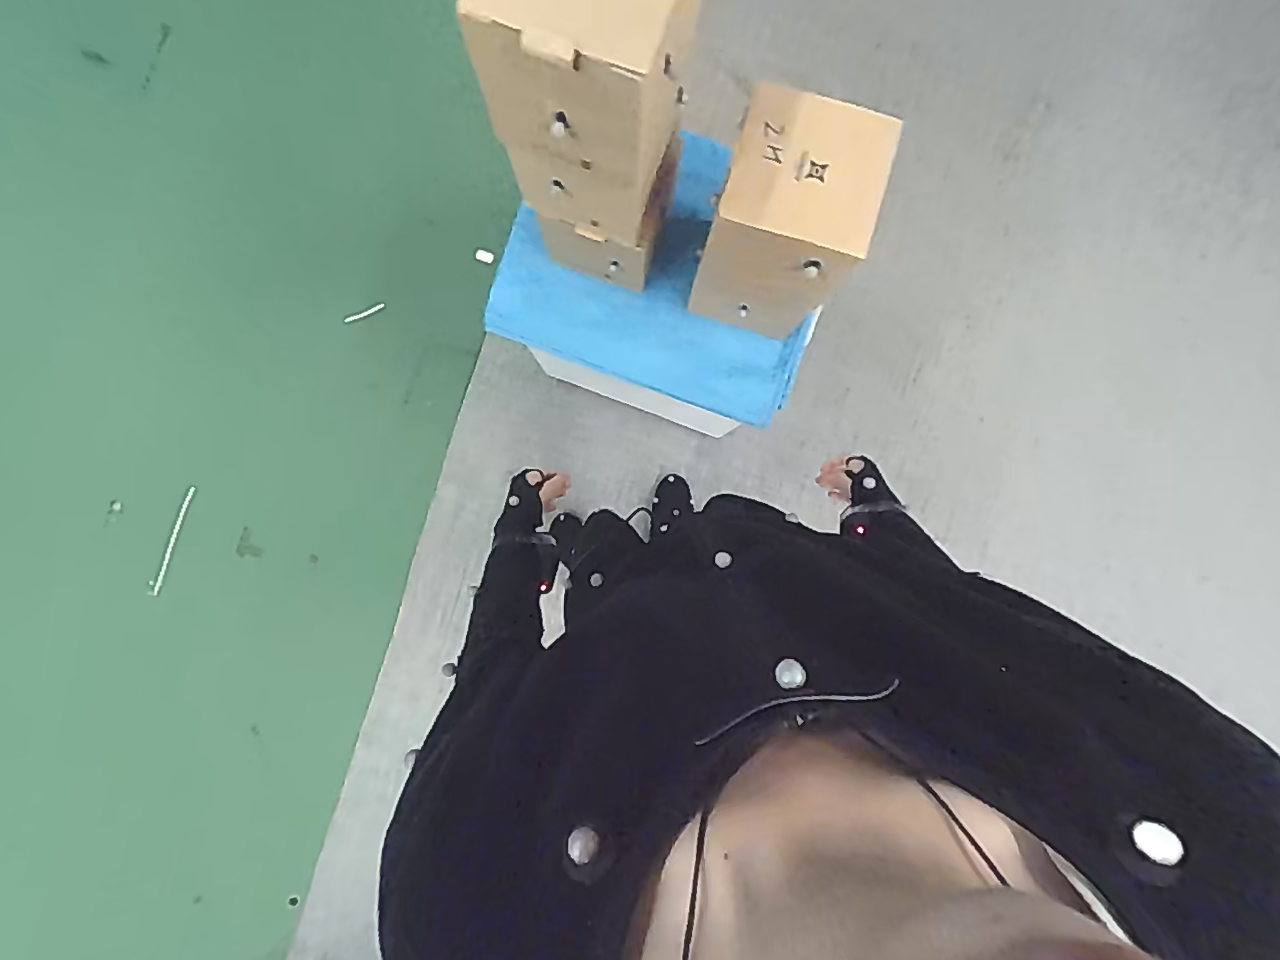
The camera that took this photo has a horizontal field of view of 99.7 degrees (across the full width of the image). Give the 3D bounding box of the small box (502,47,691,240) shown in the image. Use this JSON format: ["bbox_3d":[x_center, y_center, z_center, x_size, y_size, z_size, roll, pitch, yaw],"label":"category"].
[{"bbox_3d":[-0.048,-0.437,0.676,0.168,0.176,0.179,21,87,-1],"label":"small box"}]

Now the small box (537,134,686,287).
[{"bbox_3d":[-0.041,-0.428,0.838,0.168,0.176,0.179,21,88,-2],"label":"small box"}]

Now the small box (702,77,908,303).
[{"bbox_3d":[0.190,-0.340,0.673,0.179,0.176,0.168,17,88,1],"label":"small box"}]

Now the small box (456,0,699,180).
[{"bbox_3d":[-0.043,-0.429,0.512,0.168,0.176,0.179,21,88,-2],"label":"small box"}]
